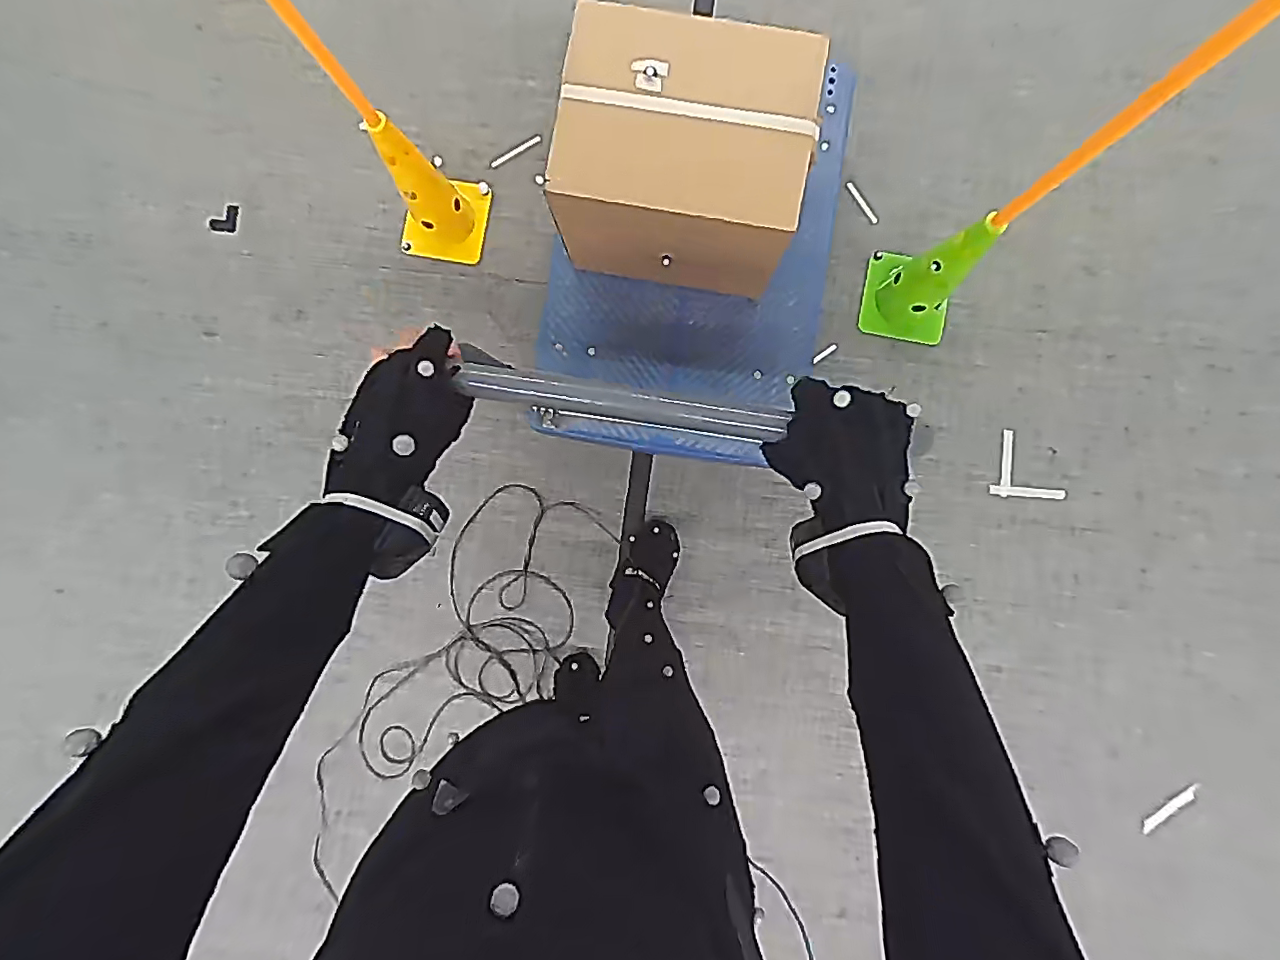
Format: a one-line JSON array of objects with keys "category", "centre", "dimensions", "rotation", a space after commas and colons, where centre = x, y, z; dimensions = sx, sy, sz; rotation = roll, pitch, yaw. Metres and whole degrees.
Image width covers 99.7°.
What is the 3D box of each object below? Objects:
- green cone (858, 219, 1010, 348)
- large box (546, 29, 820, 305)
[{"category": "green cone", "centre": [0.633, -0.435, 1.133], "dimensions": [0.202, 0.368, 0.200], "rotation": [11, 88, 1]}, {"category": "large box", "centre": [0.077, -0.550, 1.015], "dimensions": [0.408, 0.320, 0.320], "rotation": [11, 89, 3]}]
